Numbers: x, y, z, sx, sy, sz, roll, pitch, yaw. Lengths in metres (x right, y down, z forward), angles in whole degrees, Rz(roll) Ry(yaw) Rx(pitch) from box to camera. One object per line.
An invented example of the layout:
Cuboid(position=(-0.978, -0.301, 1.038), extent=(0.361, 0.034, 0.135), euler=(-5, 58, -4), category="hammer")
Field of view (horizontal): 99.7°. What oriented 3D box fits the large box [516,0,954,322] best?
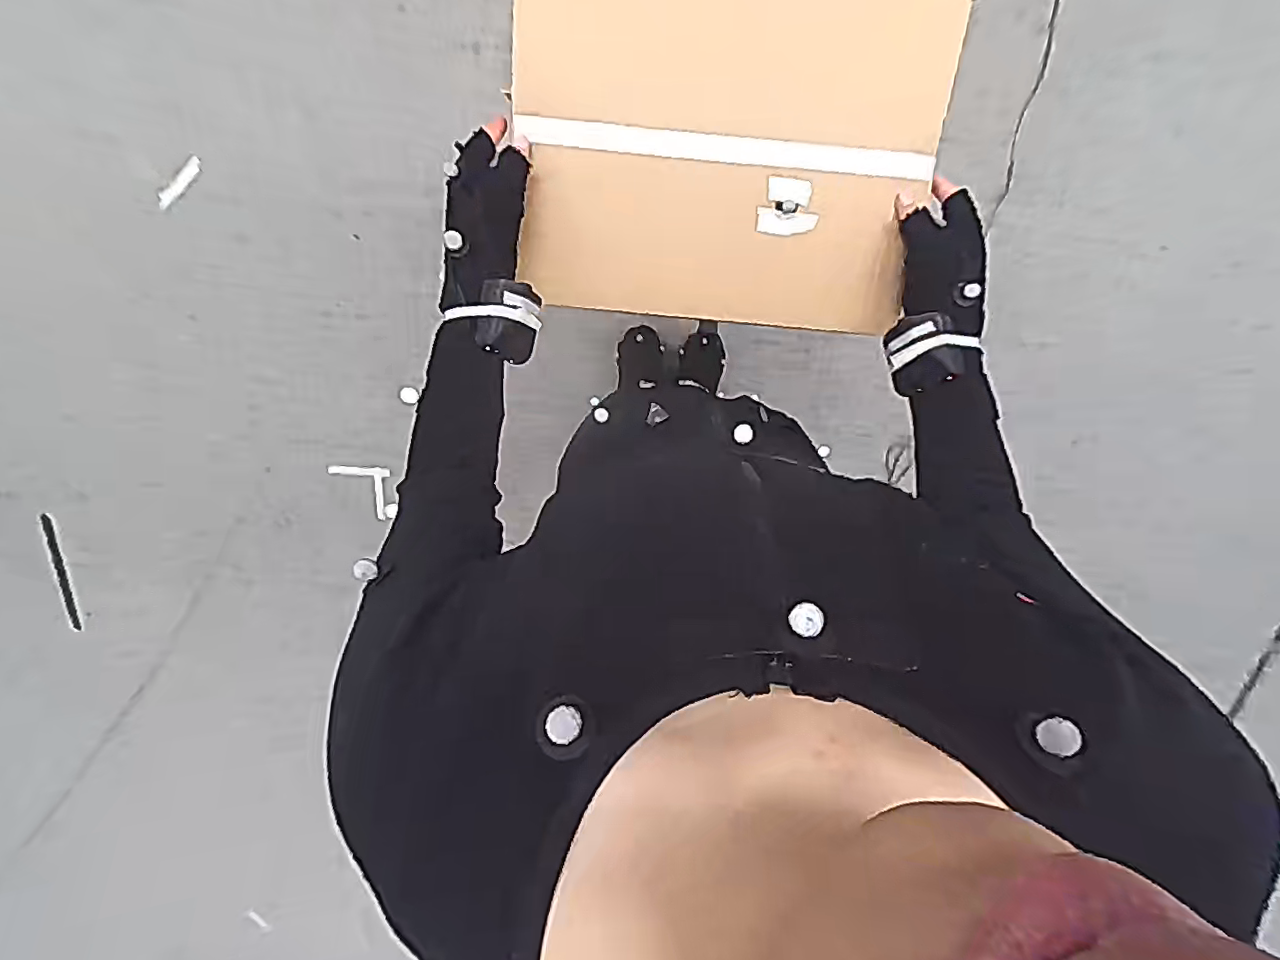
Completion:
Cuboid(position=(0.076, -0.373, 0.667), extent=(0.408, 0.320, 0.320), euler=(4, 110, -3), category="large box")
